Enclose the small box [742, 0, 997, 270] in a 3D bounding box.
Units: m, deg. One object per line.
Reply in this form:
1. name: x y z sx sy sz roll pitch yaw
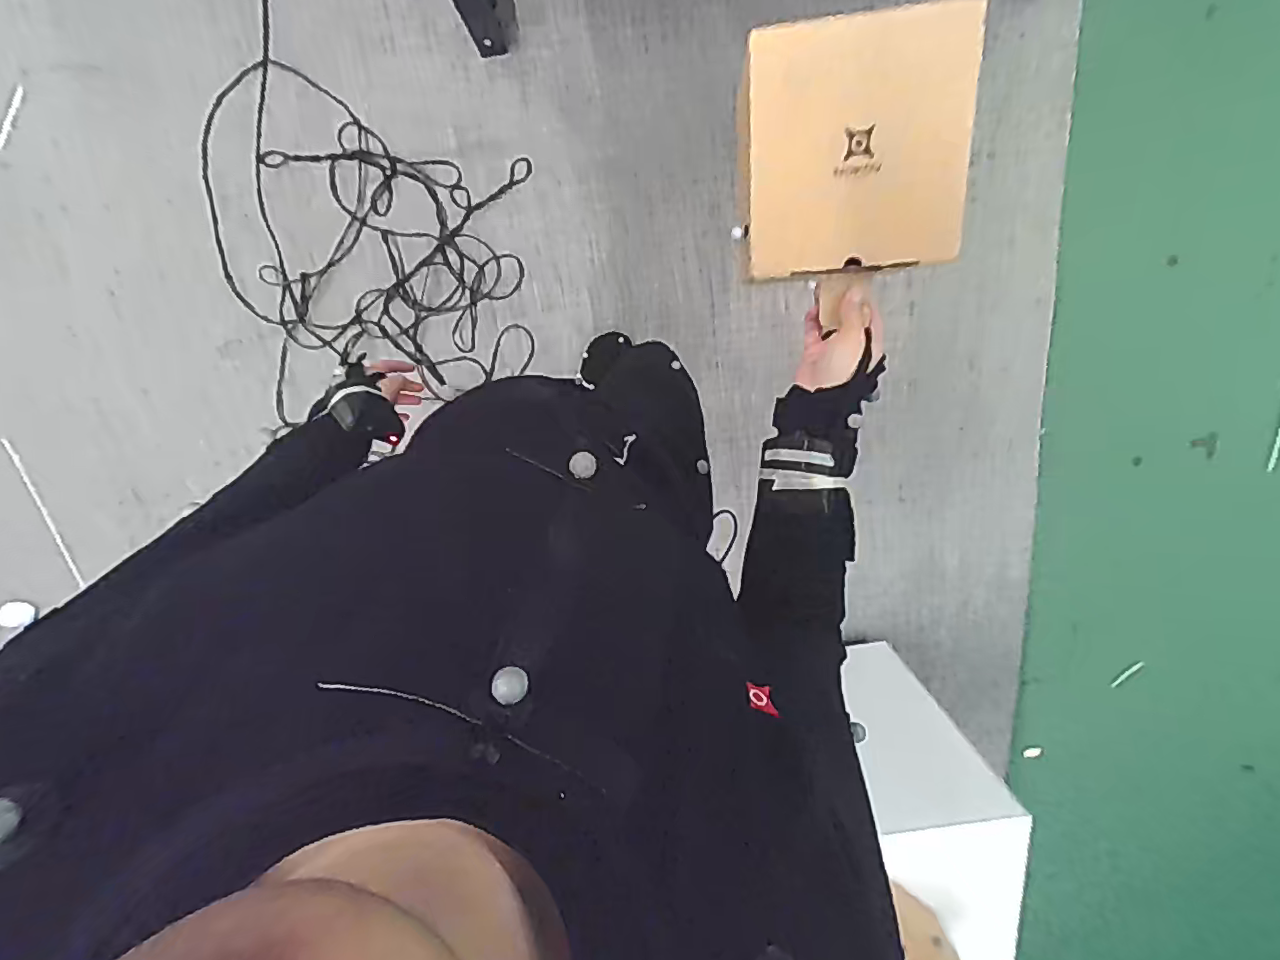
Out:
1. small box: 0.182 -0.290 0.487 0.168 0.176 0.179 -3 110 7
